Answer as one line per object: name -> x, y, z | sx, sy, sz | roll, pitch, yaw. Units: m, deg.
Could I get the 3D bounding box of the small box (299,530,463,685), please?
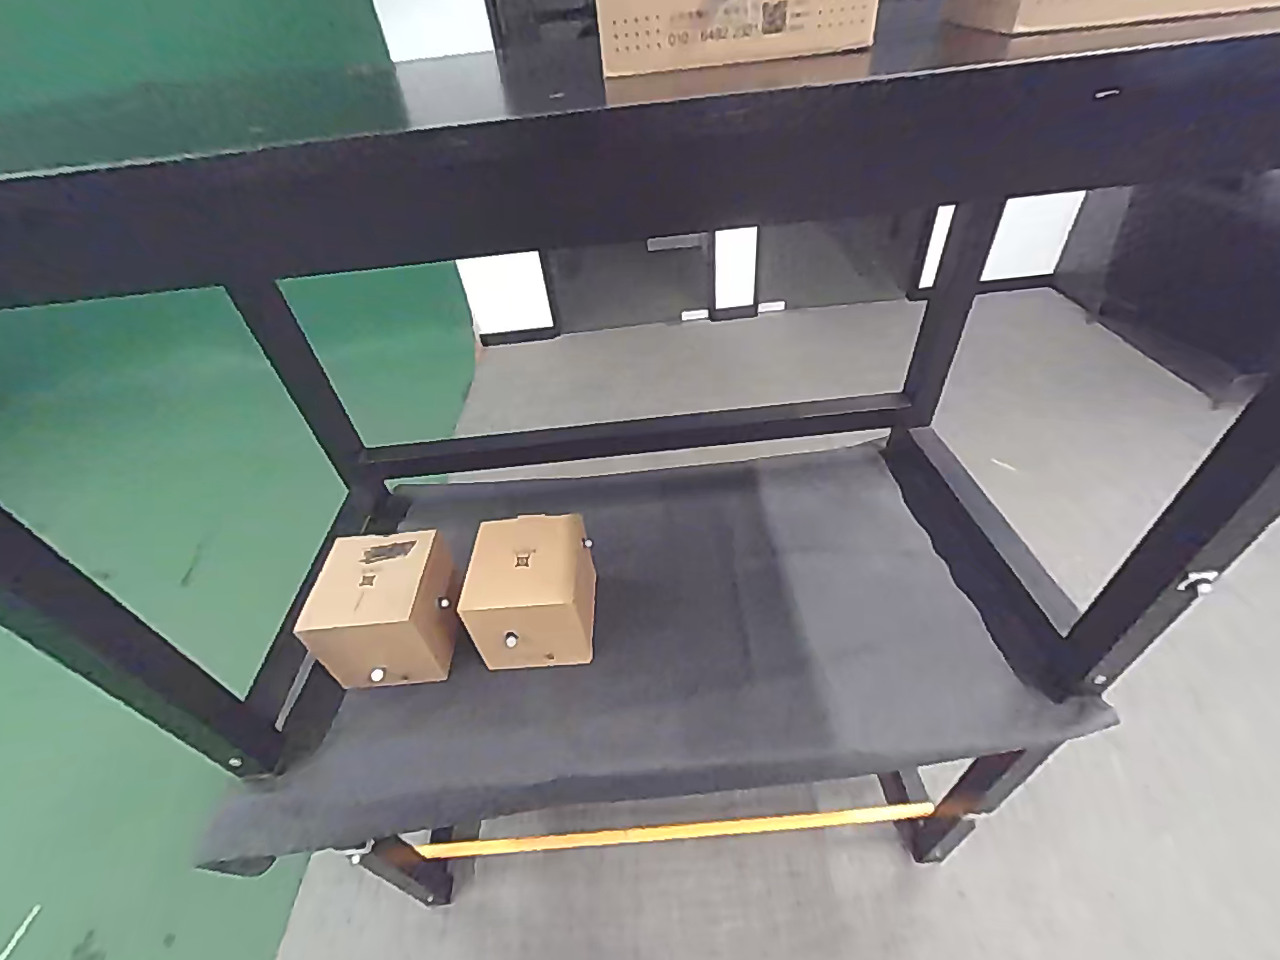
small box -> -0.395, 0.204, 0.867 | 0.168, 0.176, 0.179 | -5, 42, 1

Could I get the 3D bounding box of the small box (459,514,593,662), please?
small box -> -0.169, 0.179, 0.870 | 0.168, 0.176, 0.179 | -5, 41, 2

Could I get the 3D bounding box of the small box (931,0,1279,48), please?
small box -> 0.299, -0.373, 0.323 | 0.168, 0.176, 0.179 | 2, 42, 9
